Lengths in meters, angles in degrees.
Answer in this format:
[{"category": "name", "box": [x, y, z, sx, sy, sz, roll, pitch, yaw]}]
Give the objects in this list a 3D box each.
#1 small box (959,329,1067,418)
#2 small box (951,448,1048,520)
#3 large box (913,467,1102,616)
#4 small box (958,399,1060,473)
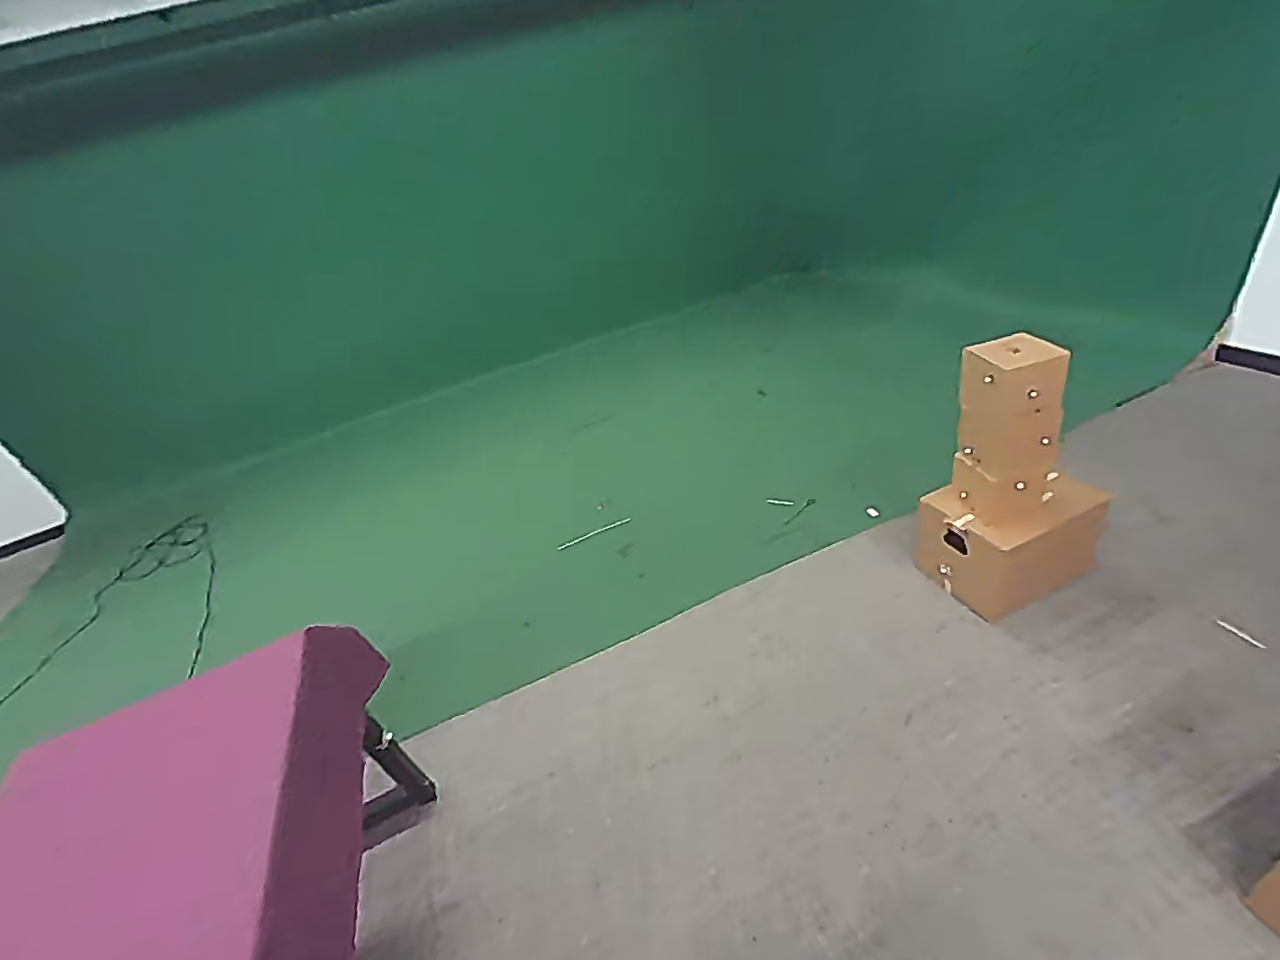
[{"category": "small box", "box": [0.989, -0.279, 1.452, 0.168, 0.176, 0.179, -15, 33, 2]}, {"category": "small box", "box": [1.064, -0.009, 1.620, 0.179, 0.176, 0.168, -17, 33, -1]}, {"category": "large box", "box": [1.168, 0.169, 1.759, 0.408, 0.320, 0.320, -22, 35, -11]}, {"category": "small box", "box": [1.034, -0.145, 1.535, 0.179, 0.176, 0.168, -16, 33, 2]}]
